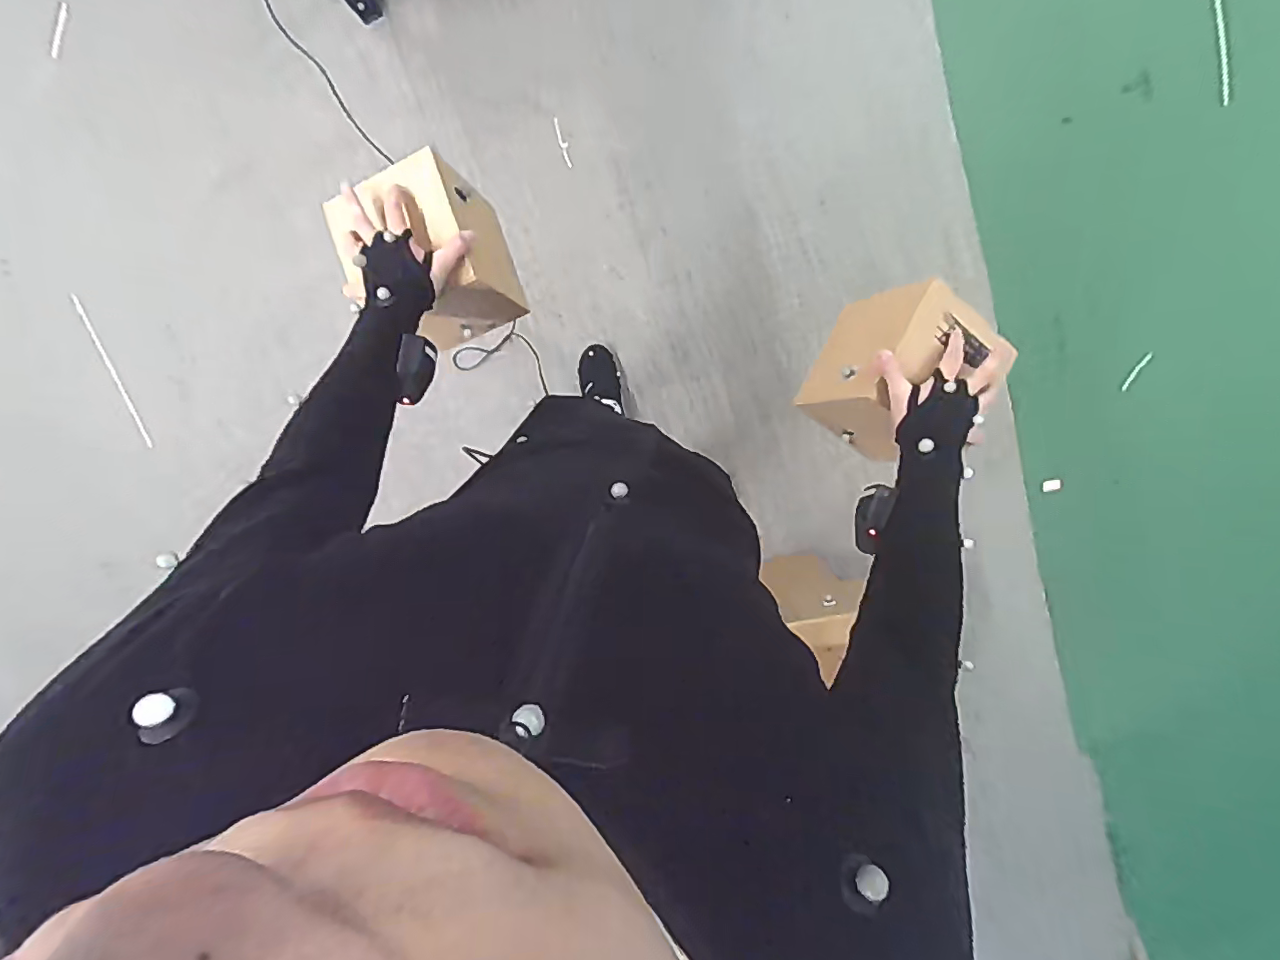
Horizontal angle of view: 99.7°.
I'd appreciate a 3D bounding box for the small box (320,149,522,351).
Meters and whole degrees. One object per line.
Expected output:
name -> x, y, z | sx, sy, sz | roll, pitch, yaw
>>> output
small box -> -0.292, -0.301, 0.751 | 0.168, 0.176, 0.179 | -21, 88, 12
